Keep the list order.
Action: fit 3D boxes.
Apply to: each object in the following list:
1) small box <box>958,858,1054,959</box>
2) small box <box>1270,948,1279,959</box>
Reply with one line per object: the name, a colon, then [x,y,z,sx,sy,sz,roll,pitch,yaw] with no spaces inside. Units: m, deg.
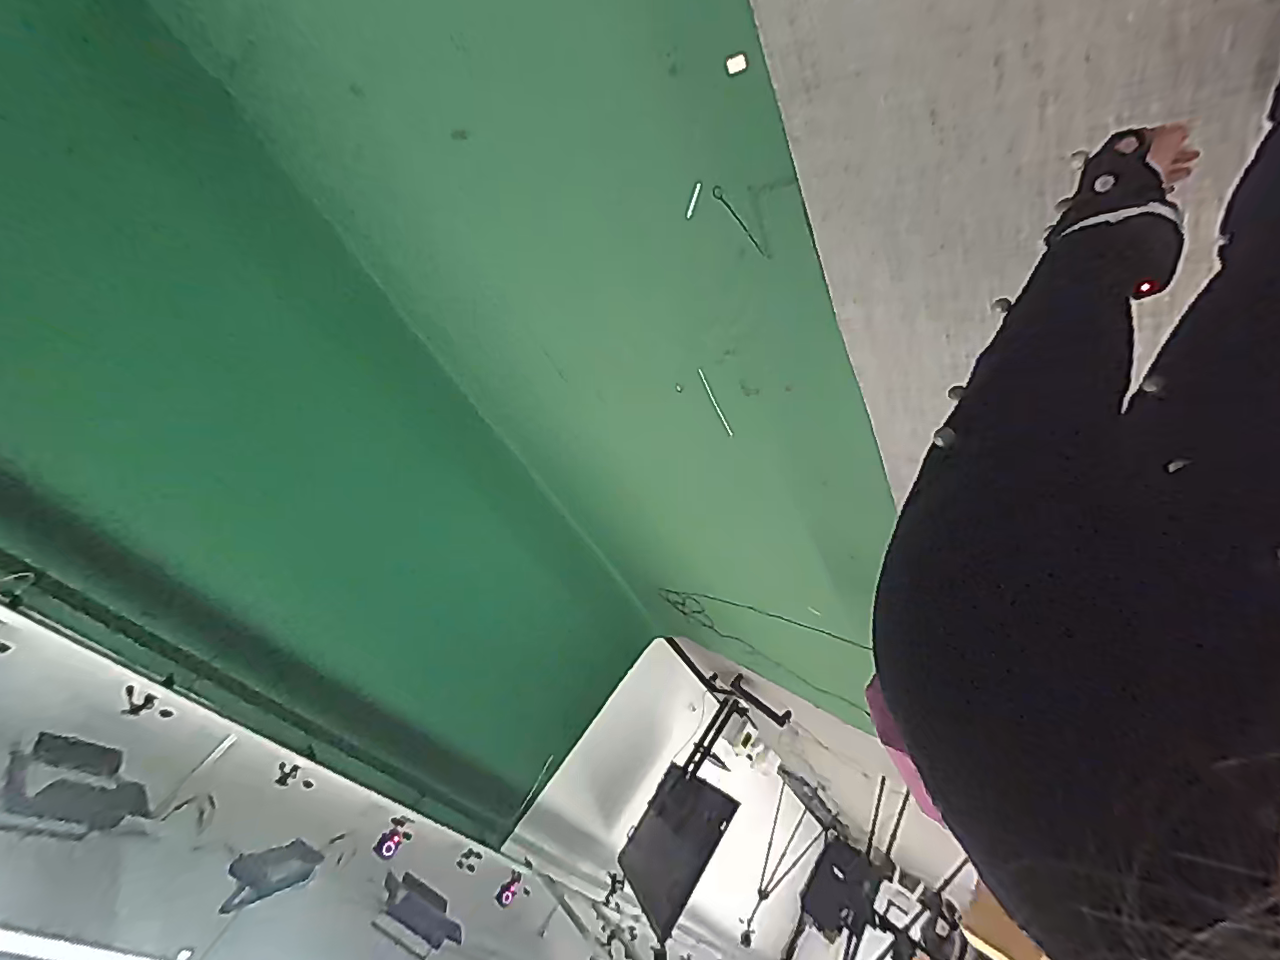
small box: [0.978,1.159,1.438,0.168,0.176,0.179,13,145,48]
small box: [1.413,1.116,1.099,0.179,0.176,0.168,13,146,50]
